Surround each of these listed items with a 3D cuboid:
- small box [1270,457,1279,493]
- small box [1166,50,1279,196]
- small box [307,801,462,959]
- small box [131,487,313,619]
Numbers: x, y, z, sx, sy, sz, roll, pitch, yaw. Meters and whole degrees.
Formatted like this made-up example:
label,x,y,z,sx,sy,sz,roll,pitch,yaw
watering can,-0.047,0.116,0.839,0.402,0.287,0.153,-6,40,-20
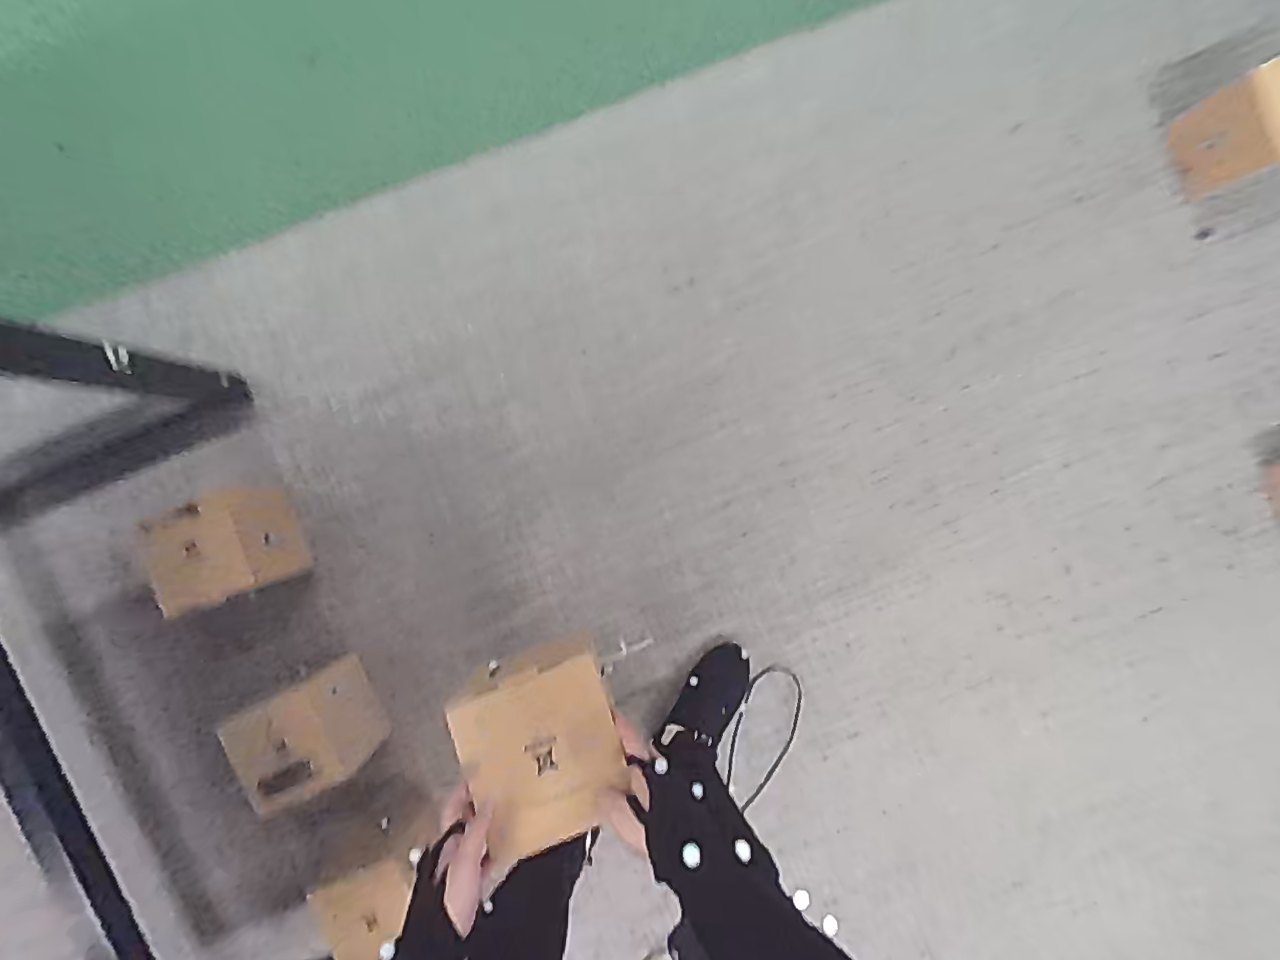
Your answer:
label,x,y,z,sx,sy,sz,roll,pitch,yaw
small box,1.370,0.018,1.010,0.168,0.176,0.179,-23,91,-1
small box,1.135,-0.663,0.995,0.179,0.176,0.168,-23,92,-1
small box,-0.451,0.737,0.985,0.168,0.176,0.179,-23,91,-1
small box,-0.729,0.120,0.966,0.168,0.176,0.179,-20,92,-1
